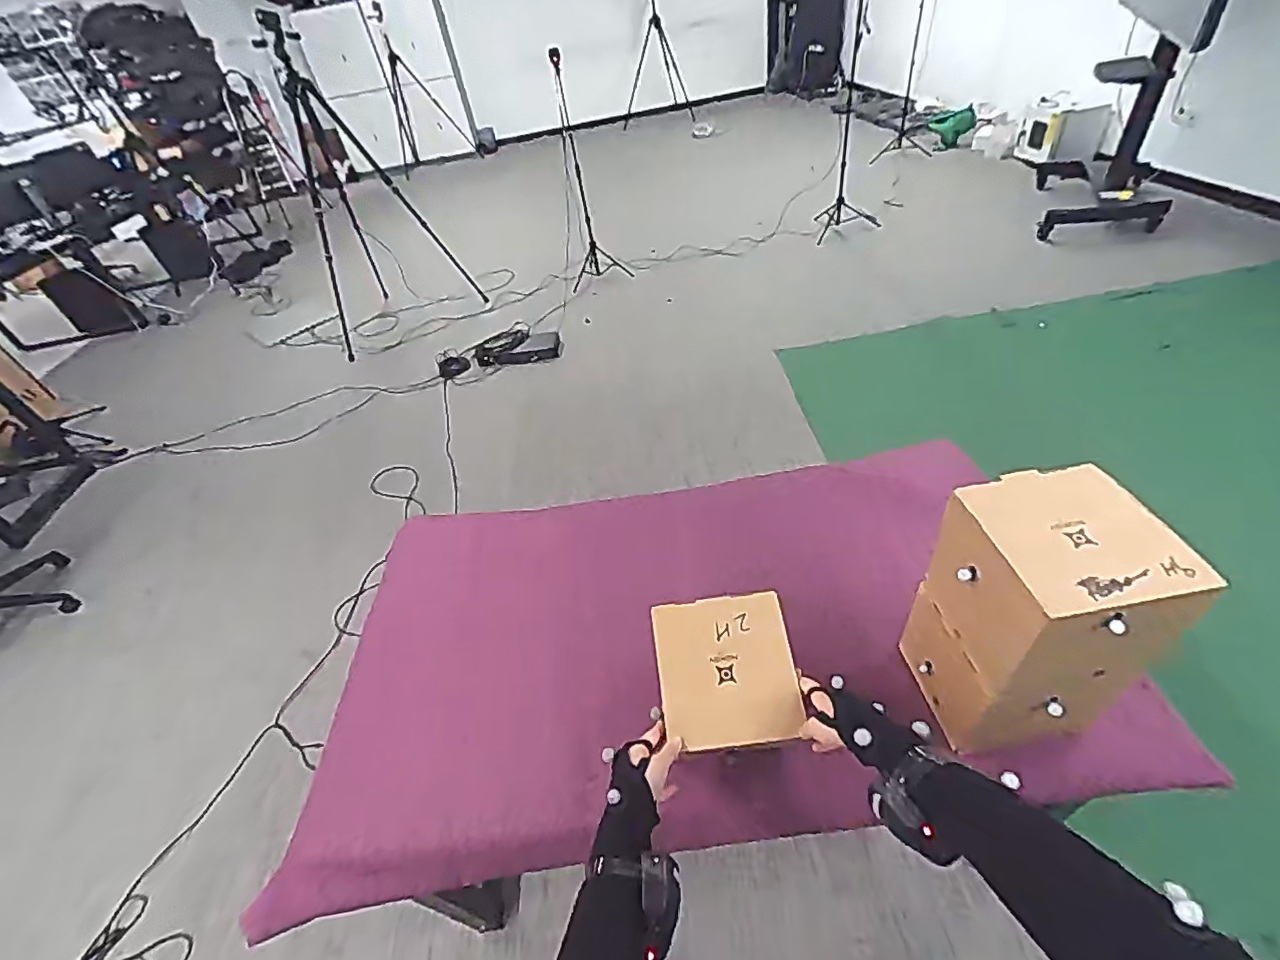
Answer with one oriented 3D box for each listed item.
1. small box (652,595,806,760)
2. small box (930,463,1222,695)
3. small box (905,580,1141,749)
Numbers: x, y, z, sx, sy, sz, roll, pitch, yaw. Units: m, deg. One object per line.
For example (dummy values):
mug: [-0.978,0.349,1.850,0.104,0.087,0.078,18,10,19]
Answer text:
small box: [0.112,0.273,0.731,0.168,0.176,0.179,-8,59,1]
small box: [0.457,0.112,0.610,0.168,0.176,0.179,-13,42,3]
small box: [0.483,0.232,0.719,0.179,0.176,0.168,-13,43,2]
